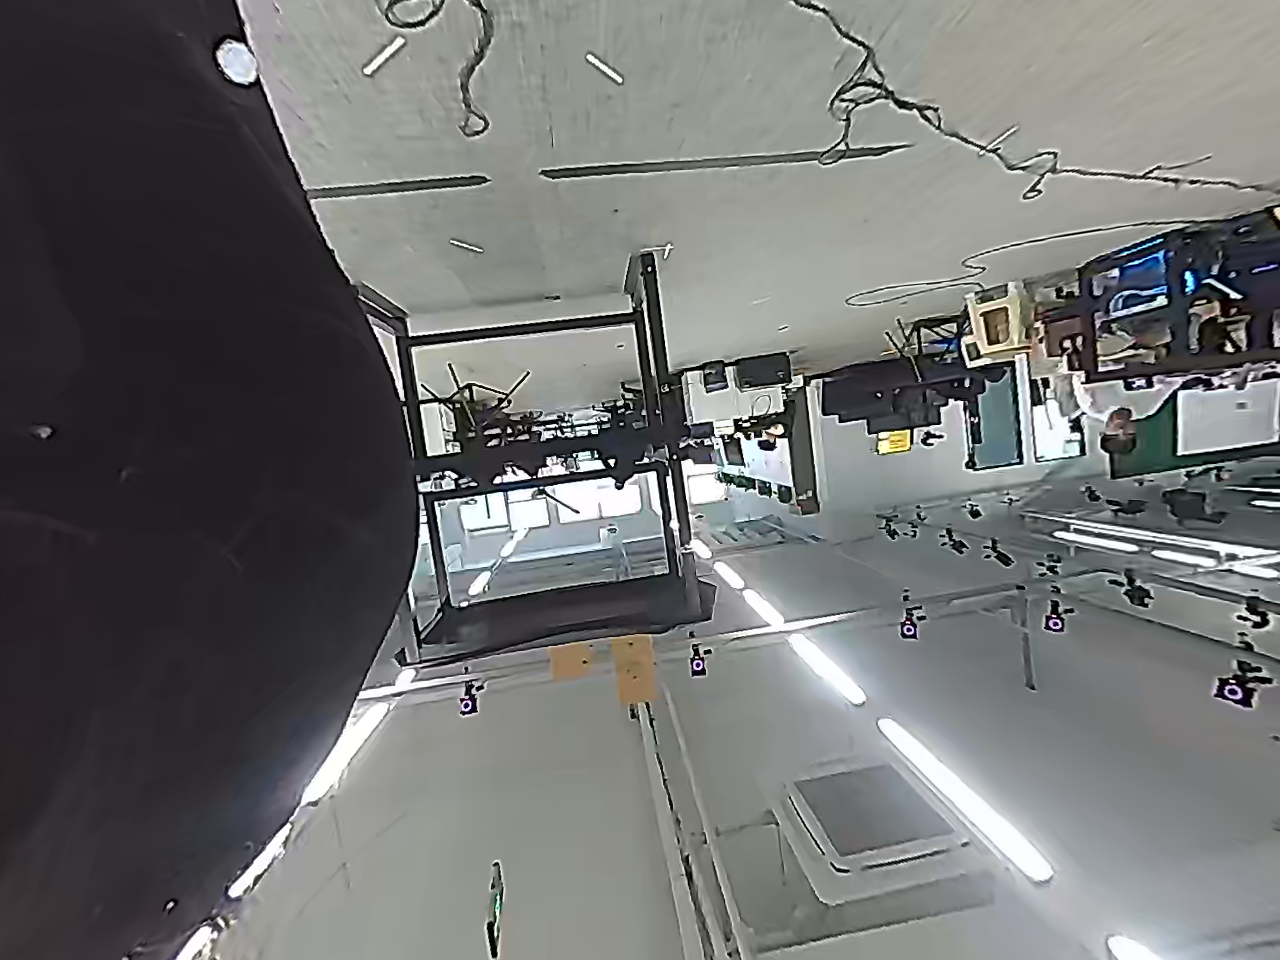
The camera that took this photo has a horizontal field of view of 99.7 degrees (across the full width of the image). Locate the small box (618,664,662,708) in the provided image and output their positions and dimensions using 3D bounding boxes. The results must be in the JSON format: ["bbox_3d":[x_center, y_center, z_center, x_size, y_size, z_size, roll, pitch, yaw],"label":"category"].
[{"bbox_3d":[-0.001,0.849,2.327,0.168,0.176,0.179,-9,-175,-2],"label":"small box"}]

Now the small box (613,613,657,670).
[{"bbox_3d":[-0.022,0.686,2.309,0.168,0.176,0.179,-7,-175,-1],"label":"small box"}]
